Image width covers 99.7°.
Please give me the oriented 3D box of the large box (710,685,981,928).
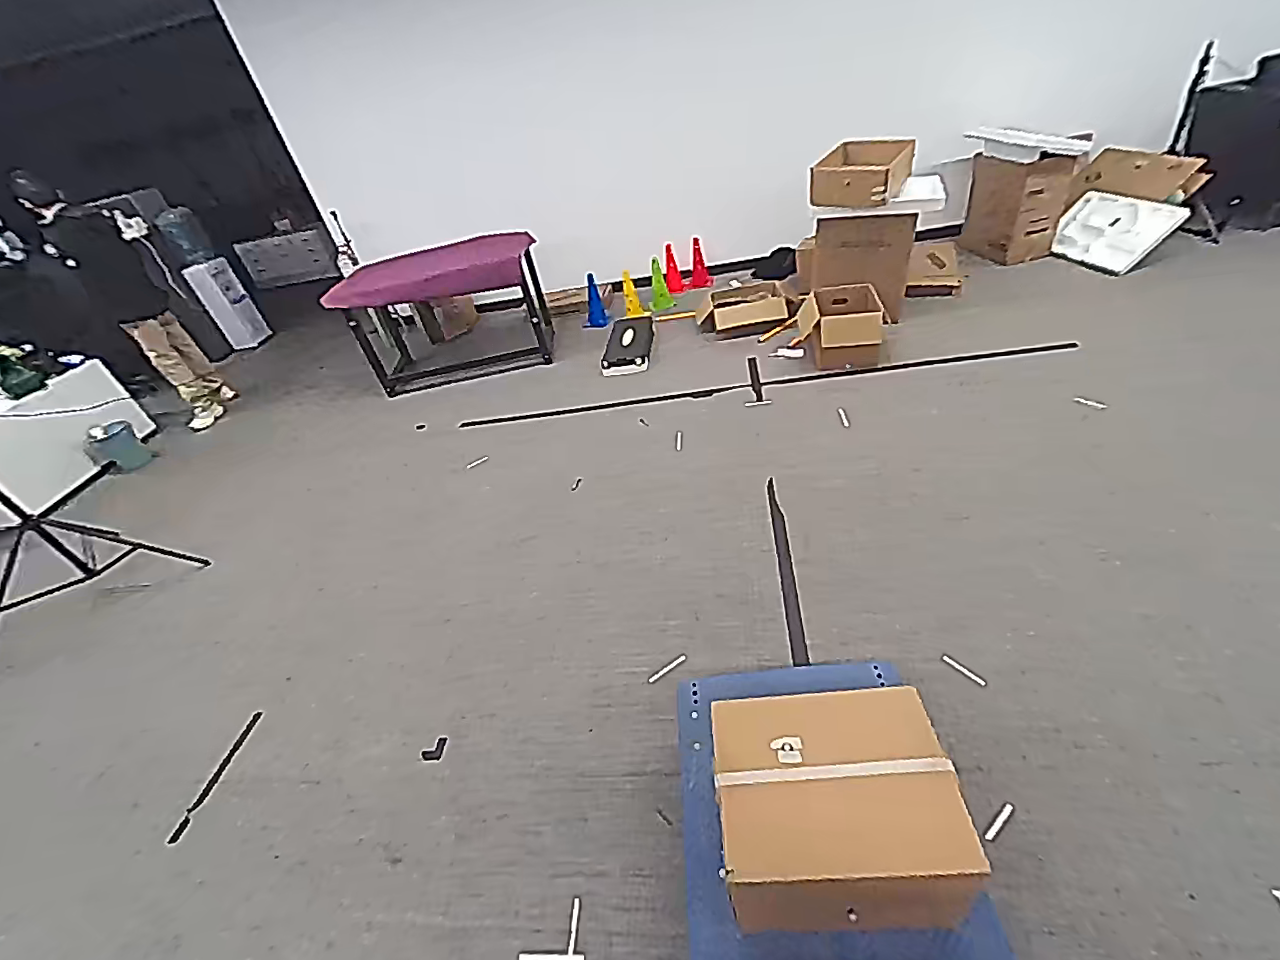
[{"bbox_3d":[0.370,0.647,1.068,0.408,0.320,0.320,-9,37,8],"label":"large box"}]
